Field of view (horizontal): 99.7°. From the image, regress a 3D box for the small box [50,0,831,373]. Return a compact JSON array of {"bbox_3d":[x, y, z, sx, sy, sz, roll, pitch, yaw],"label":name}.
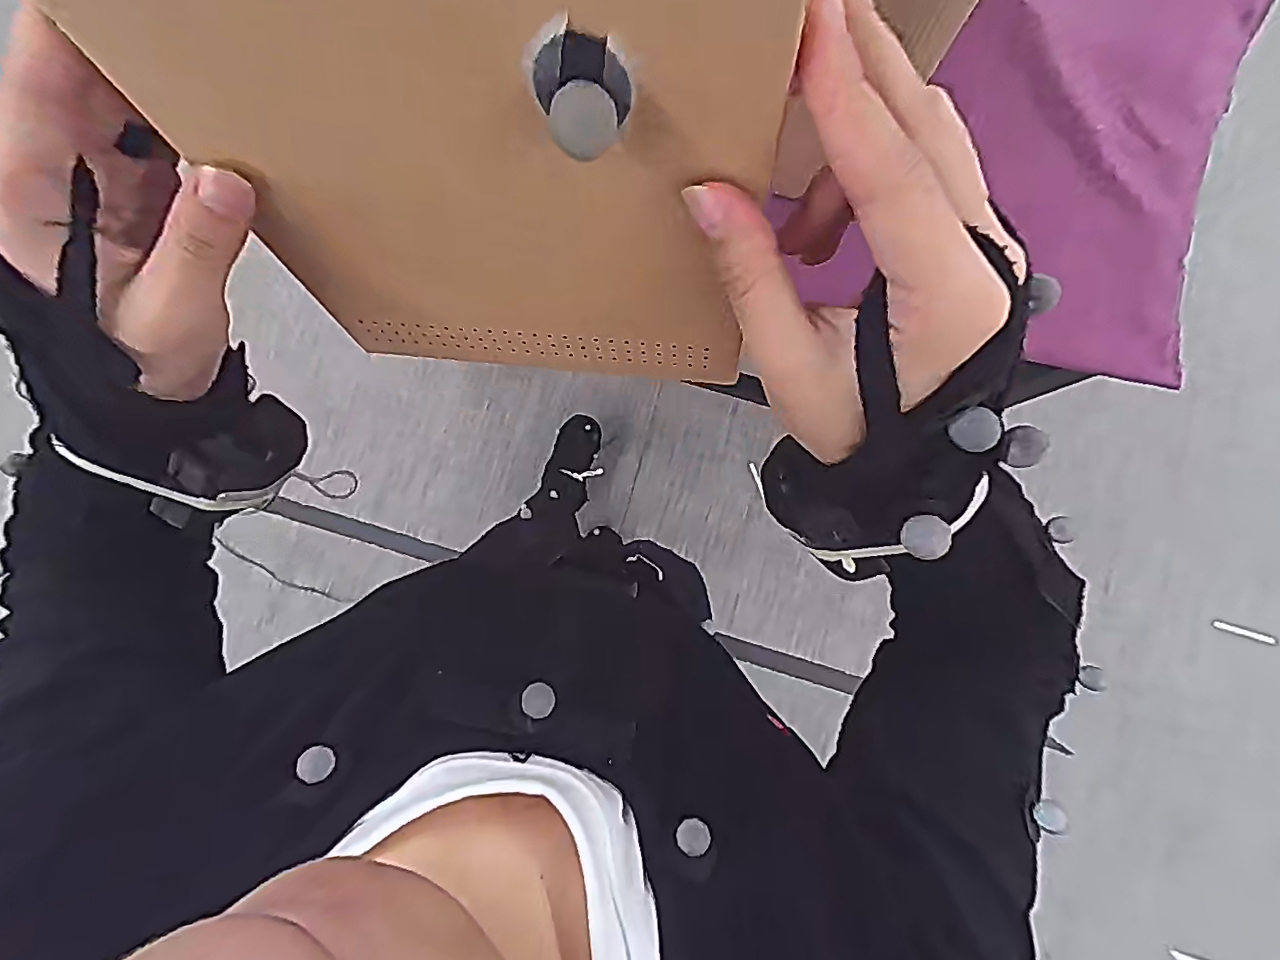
[{"bbox_3d":[-0.034,-0.154,0.193,0.179,0.176,0.168,6,70,7],"label":"small box"}]
